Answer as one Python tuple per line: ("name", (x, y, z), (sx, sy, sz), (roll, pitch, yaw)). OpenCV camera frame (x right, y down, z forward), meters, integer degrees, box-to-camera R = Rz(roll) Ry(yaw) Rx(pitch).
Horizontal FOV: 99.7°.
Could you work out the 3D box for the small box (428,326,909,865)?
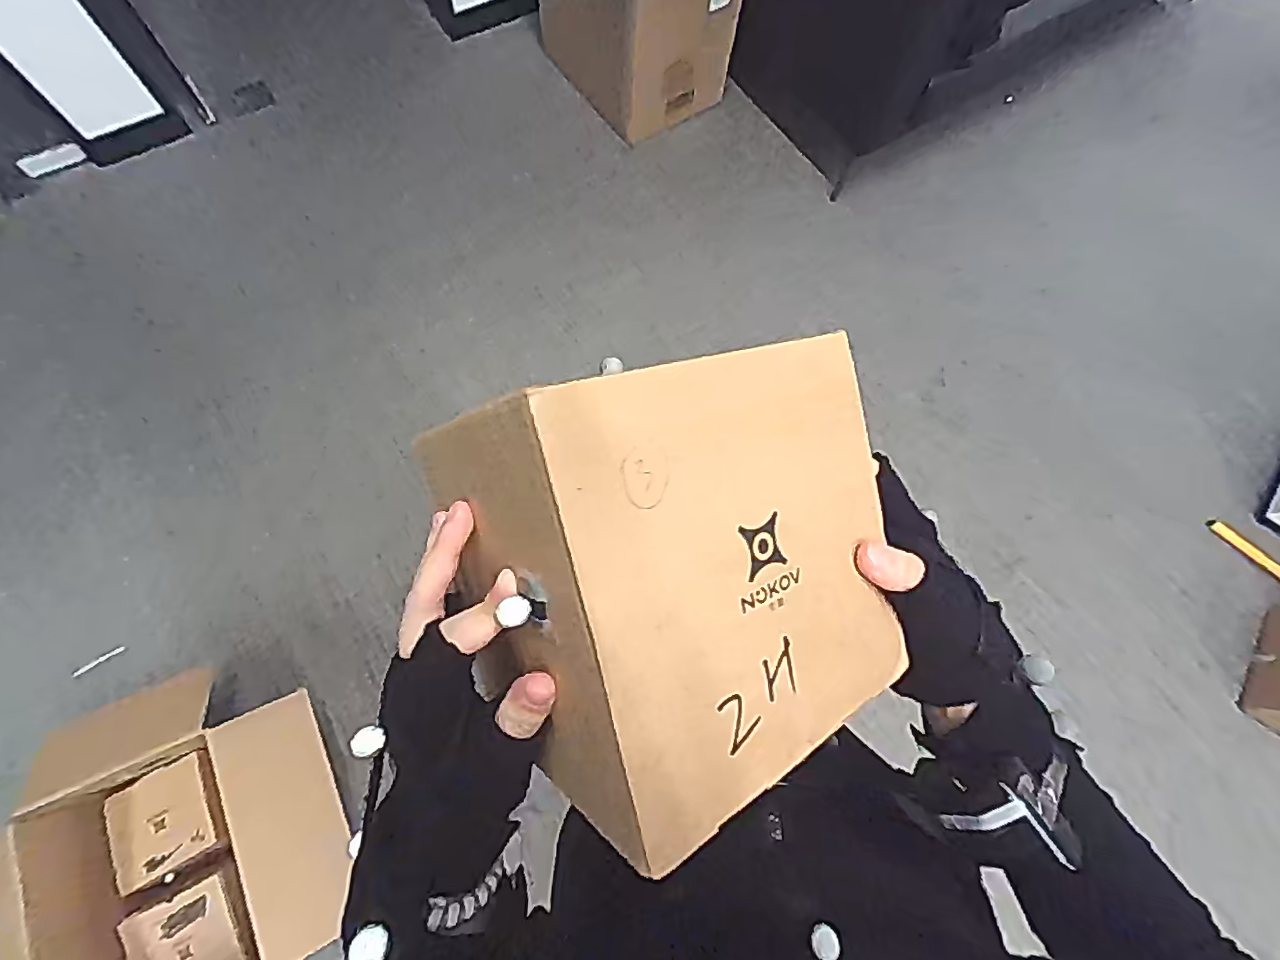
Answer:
("small box", (0.006, 0.034, 0.284), (0.168, 0.176, 0.179), (-17, 98, -33))
